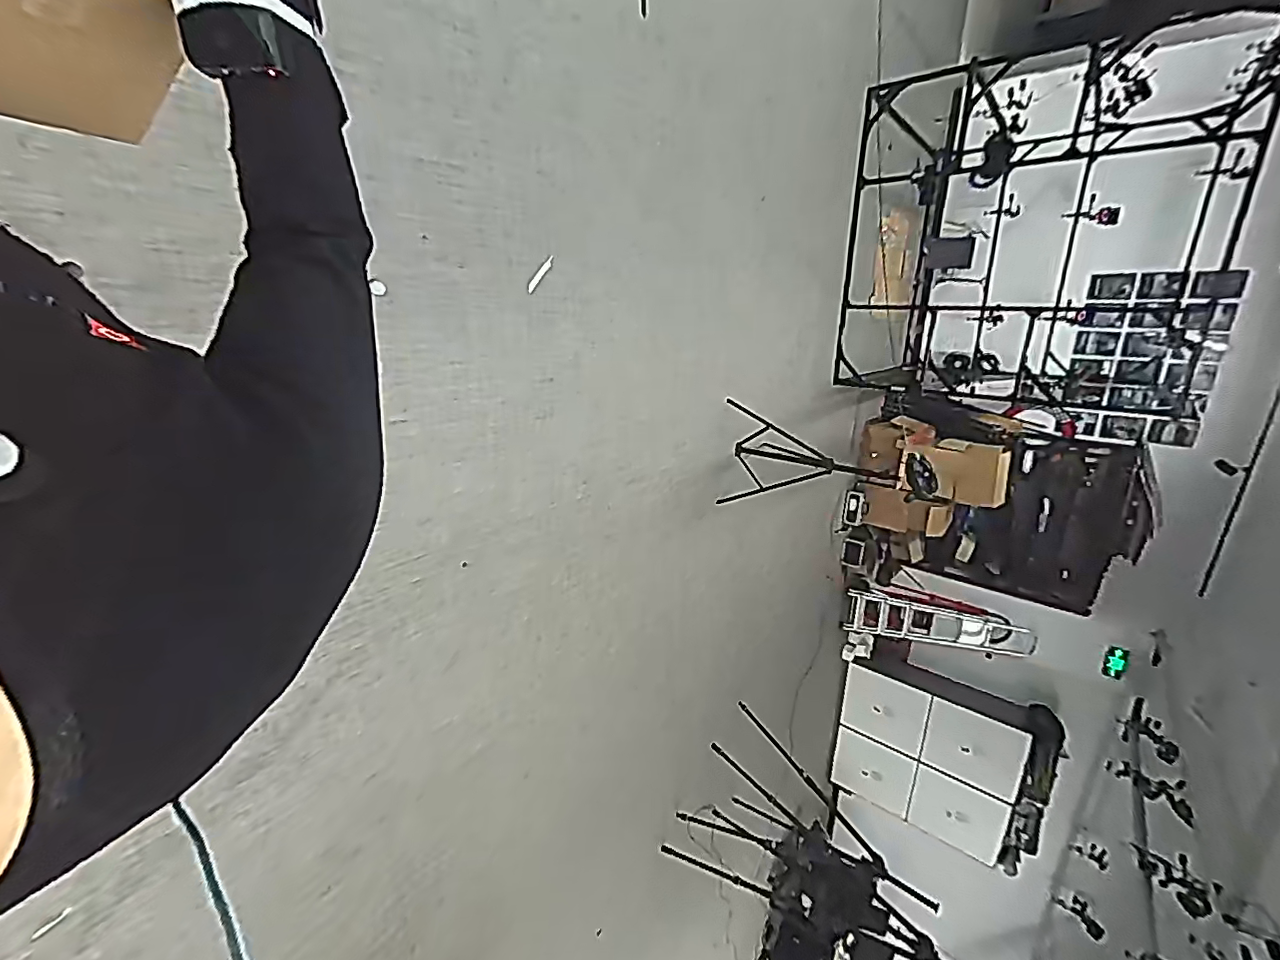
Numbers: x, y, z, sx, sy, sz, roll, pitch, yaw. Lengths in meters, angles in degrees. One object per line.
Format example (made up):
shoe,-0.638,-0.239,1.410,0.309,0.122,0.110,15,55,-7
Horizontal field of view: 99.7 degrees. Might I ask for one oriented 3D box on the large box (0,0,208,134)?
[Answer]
large box,-0.542,-0.450,0.290,0.408,0.320,0.320,-15,108,-48
